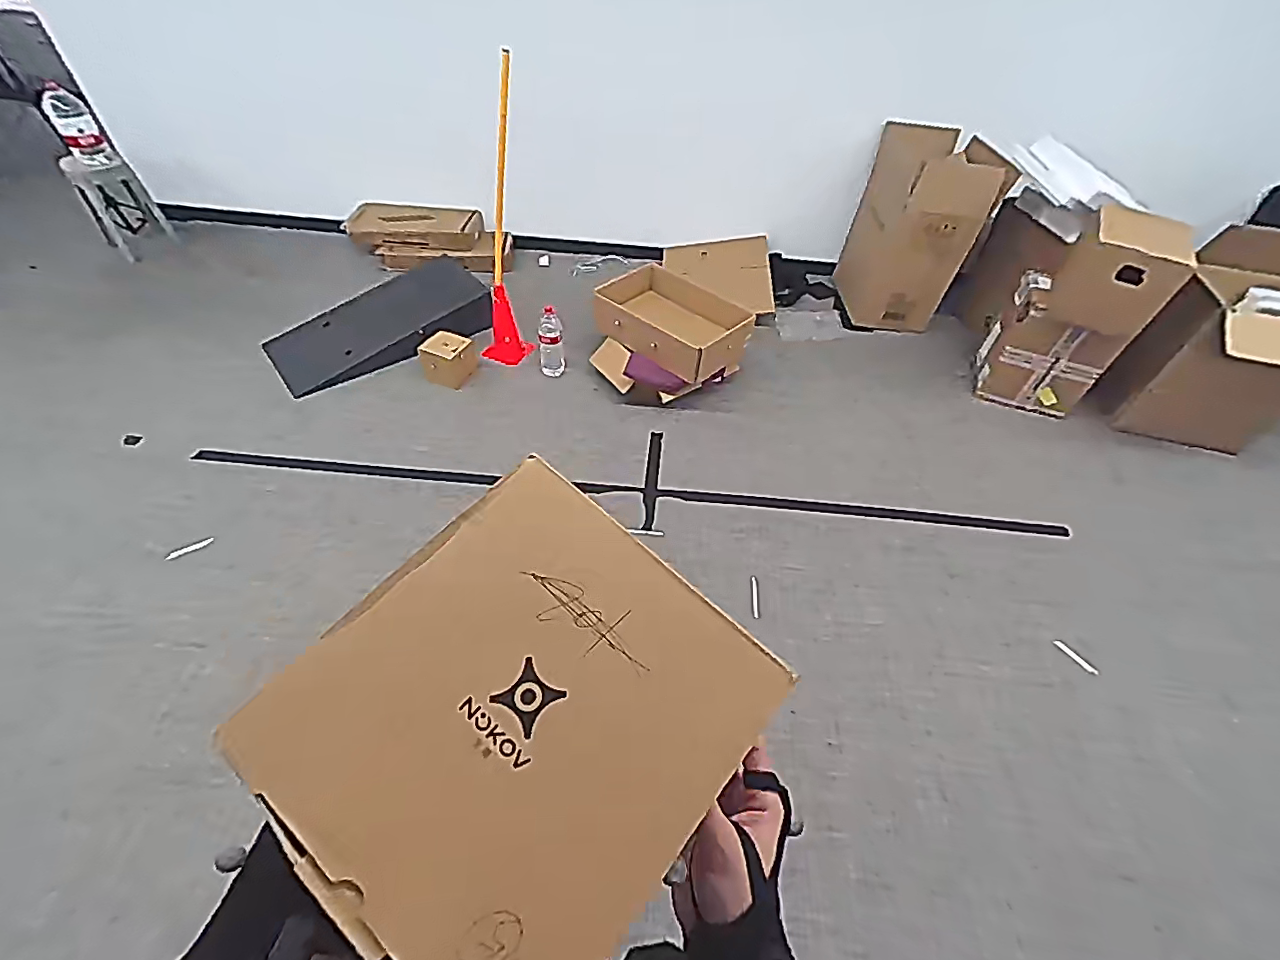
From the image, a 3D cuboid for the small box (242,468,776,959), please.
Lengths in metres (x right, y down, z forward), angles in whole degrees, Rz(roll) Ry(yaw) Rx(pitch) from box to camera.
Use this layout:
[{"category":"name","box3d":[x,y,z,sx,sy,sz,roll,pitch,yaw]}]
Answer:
[{"category":"small box","box3d":[-0.057,0.133,0.308,0.168,0.176,0.179,39,66,13]}]
